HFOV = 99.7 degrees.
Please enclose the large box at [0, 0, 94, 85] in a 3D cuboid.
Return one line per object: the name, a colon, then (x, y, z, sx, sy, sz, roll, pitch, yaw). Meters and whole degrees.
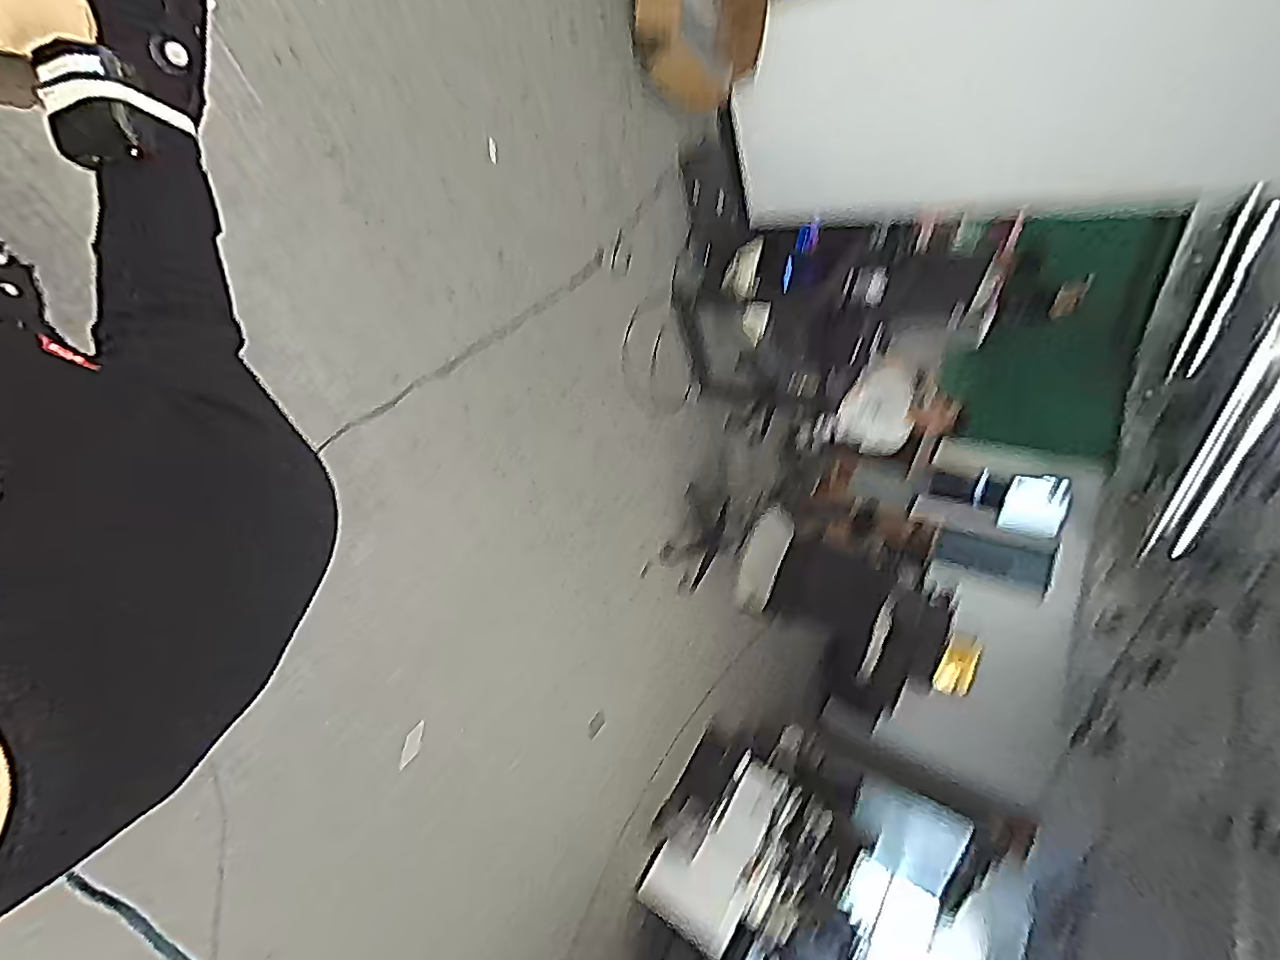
large box: (-0.610, -0.445, 0.259, 0.408, 0.320, 0.320, -20, 125, -52)
